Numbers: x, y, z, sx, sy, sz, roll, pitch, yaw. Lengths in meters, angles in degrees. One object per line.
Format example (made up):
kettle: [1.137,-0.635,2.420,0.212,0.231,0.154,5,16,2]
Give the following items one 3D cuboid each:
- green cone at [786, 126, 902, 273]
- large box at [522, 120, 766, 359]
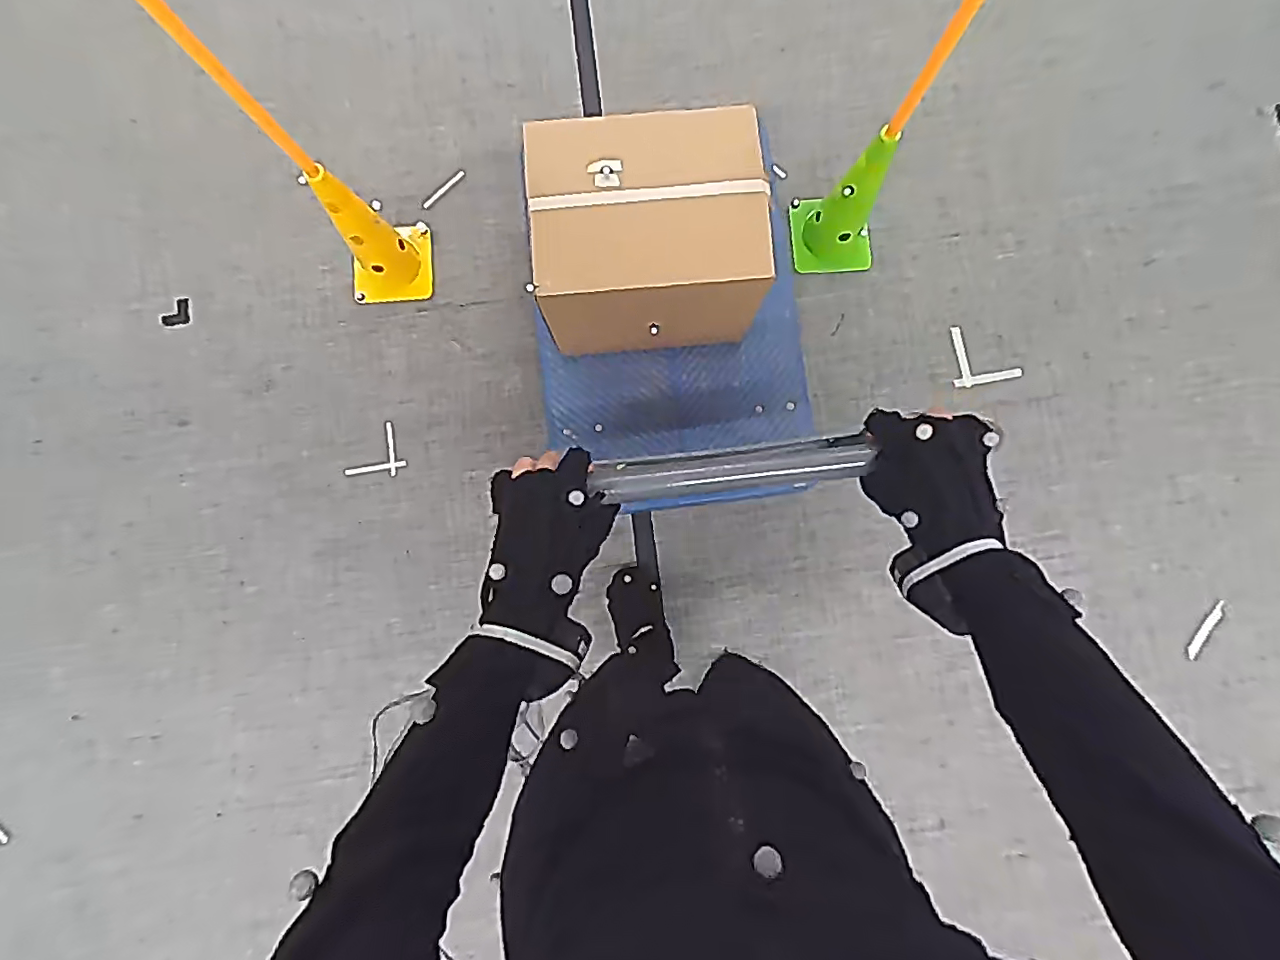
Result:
green cone: [0.489,-0.657,1.242,0.202,0.368,0.200,-4,84,-1]
large box: [0.008,-0.447,1.079,0.408,0.320,0.320,-5,84,0]
